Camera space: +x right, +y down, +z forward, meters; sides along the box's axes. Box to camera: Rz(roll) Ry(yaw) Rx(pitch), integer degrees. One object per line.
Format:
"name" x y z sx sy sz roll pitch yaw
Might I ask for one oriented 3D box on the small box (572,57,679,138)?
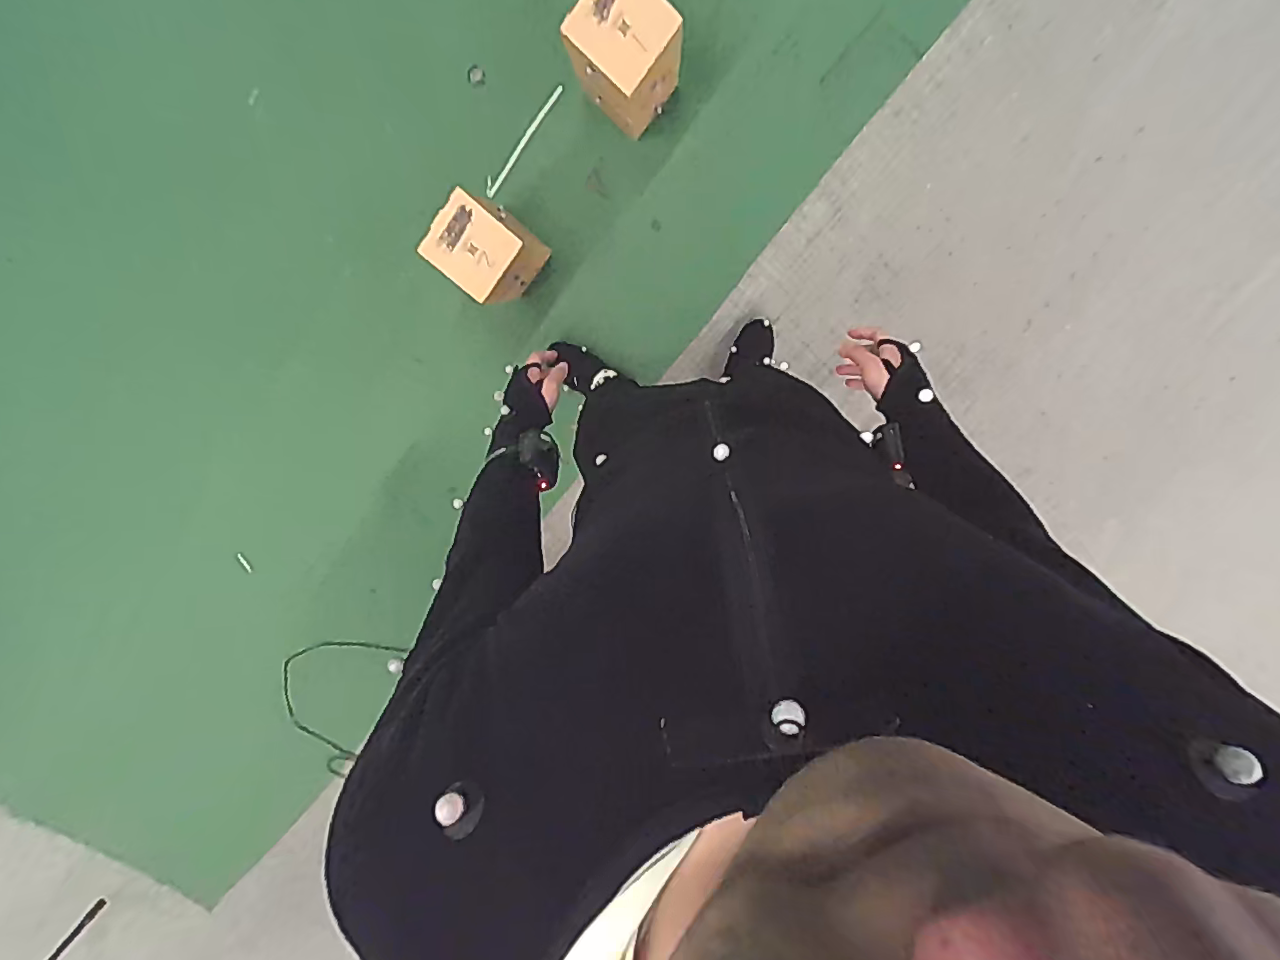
"small box" -0.031 -0.934 1.249 0.179 0.176 0.168 39 106 -11

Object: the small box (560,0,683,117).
"small box" -0.034 -0.883 1.093 0.179 0.176 0.168 39 106 -11

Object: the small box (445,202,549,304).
"small box" -0.356 -0.577 1.385 0.179 0.176 0.168 38 106 -10
